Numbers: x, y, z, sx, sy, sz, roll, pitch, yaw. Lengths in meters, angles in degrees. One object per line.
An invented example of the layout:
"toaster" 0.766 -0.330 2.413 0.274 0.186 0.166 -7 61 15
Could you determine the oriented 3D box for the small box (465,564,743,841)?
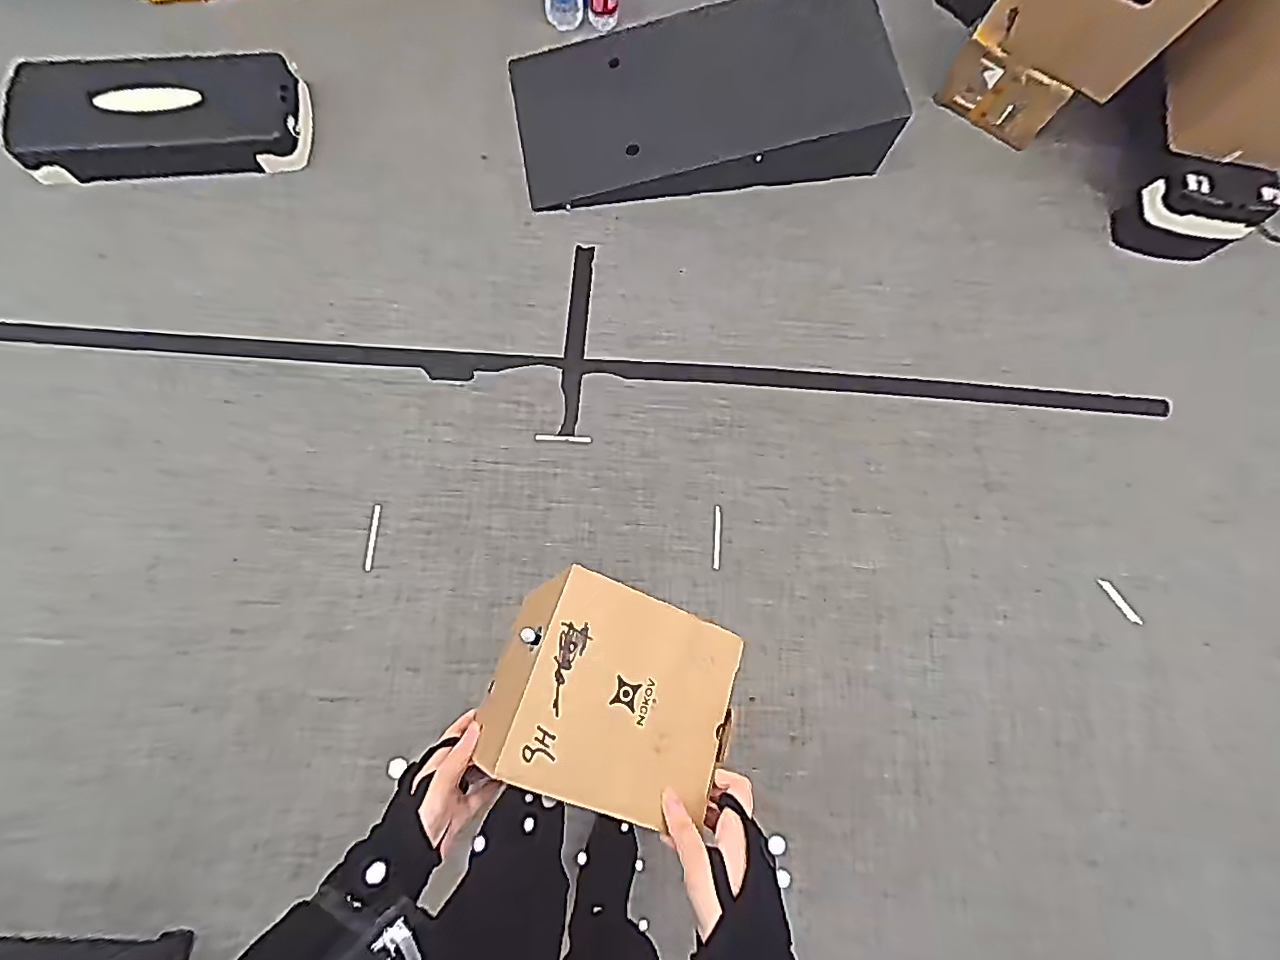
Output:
"small box" -0.037 0.199 0.497 0.179 0.176 0.168 27 60 -15
